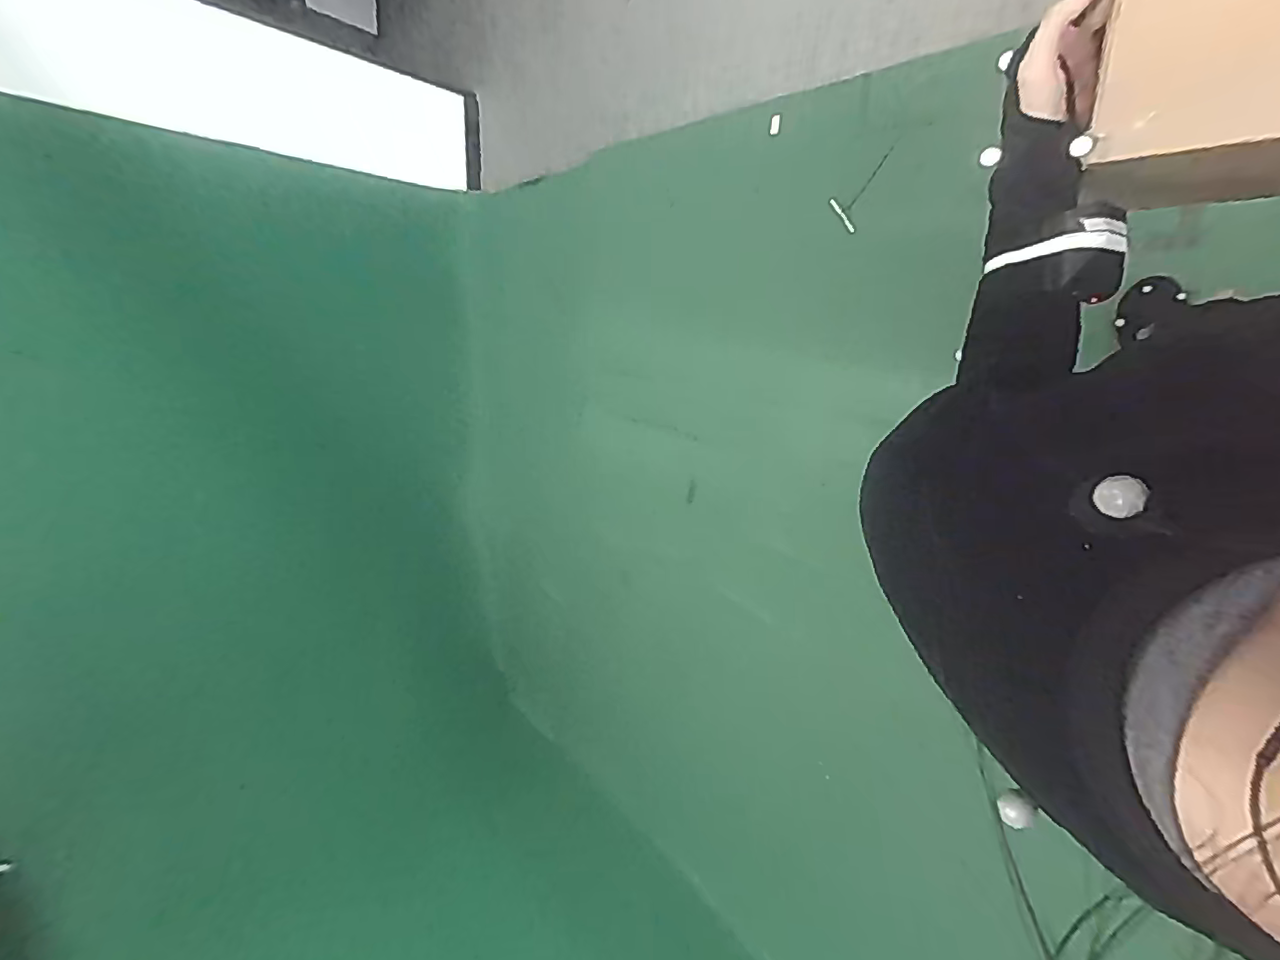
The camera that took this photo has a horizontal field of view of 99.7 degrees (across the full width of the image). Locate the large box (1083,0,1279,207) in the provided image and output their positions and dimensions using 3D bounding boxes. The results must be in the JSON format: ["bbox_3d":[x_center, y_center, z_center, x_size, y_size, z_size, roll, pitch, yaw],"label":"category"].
[{"bbox_3d":[0.574,-0.389,0.352,0.408,0.320,0.320,11,111,36],"label":"large box"}]
